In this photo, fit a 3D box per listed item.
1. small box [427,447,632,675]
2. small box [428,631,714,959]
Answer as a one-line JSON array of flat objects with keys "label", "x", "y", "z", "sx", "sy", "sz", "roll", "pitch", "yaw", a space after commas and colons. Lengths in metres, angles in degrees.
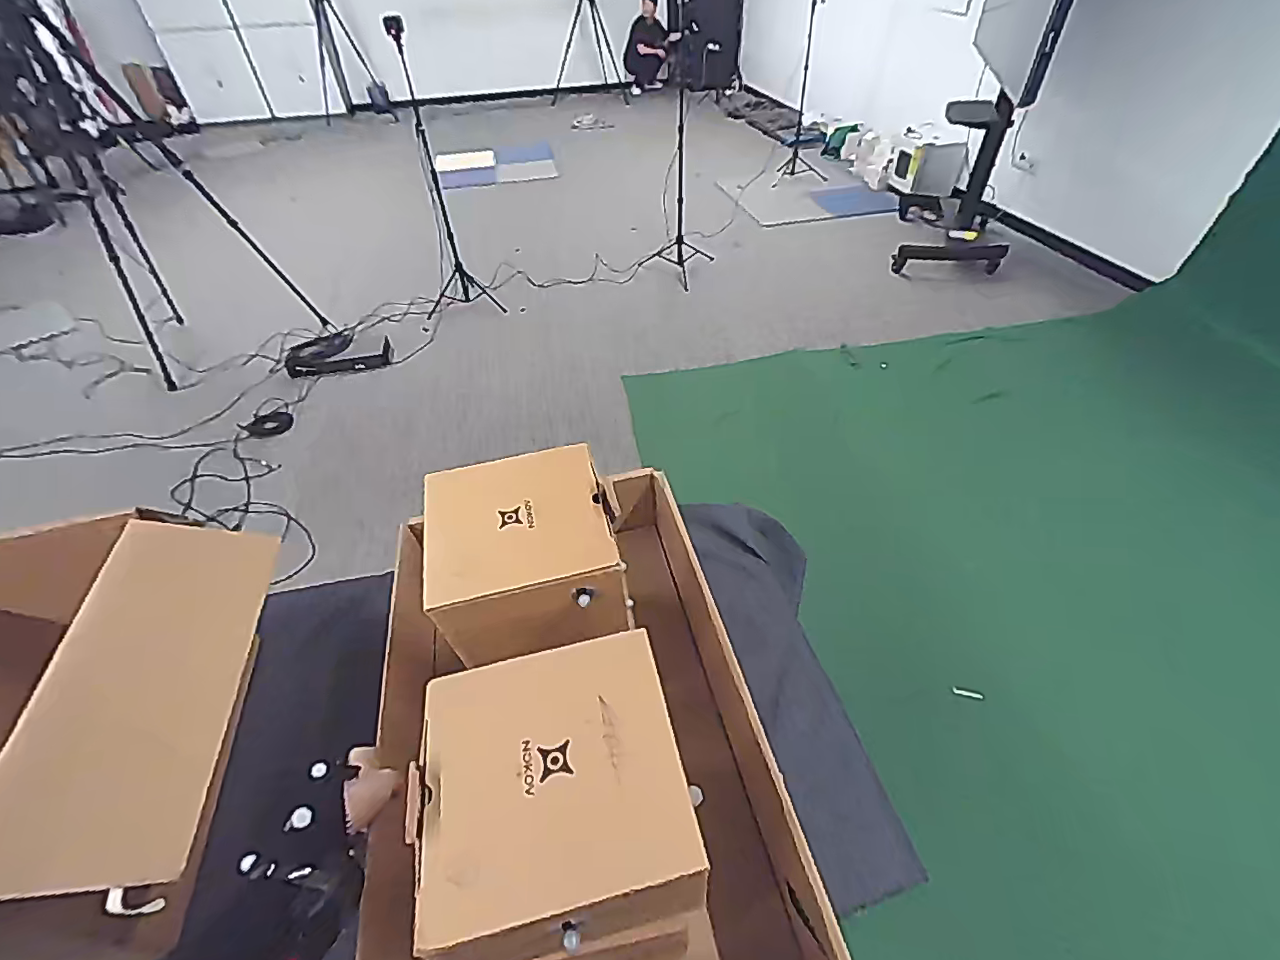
[{"label": "small box", "x": -0.114, "y": 0.093, "z": 0.584, "sx": 0.179, "sy": 0.176, "sz": 0.168, "roll": -12, "pitch": 48, "yaw": -8}, {"label": "small box", "x": -0.050, "y": 0.251, "z": 0.427, "sx": 0.179, "sy": 0.176, "sz": 0.168, "roll": -13, "pitch": 47, "yaw": -8}]
